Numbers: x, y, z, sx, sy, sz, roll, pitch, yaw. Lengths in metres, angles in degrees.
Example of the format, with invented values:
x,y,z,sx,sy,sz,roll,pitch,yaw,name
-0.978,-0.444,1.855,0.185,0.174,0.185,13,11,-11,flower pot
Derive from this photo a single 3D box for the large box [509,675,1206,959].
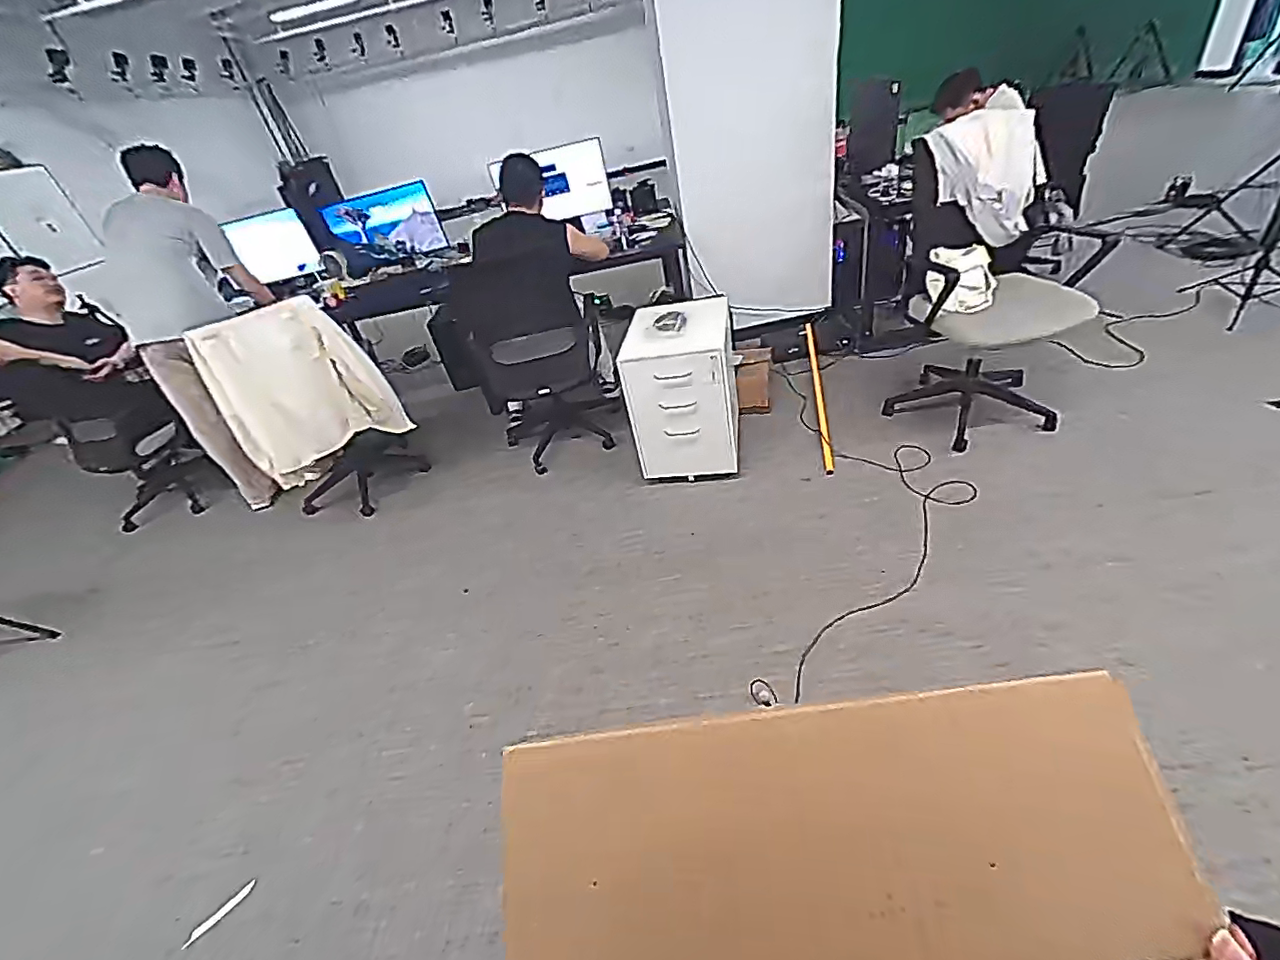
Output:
x,y,z,sx,sy,sz,roll,pitch,yaw,name
0.139,0.357,0.449,0.408,0.320,0.320,-8,67,2,large box
